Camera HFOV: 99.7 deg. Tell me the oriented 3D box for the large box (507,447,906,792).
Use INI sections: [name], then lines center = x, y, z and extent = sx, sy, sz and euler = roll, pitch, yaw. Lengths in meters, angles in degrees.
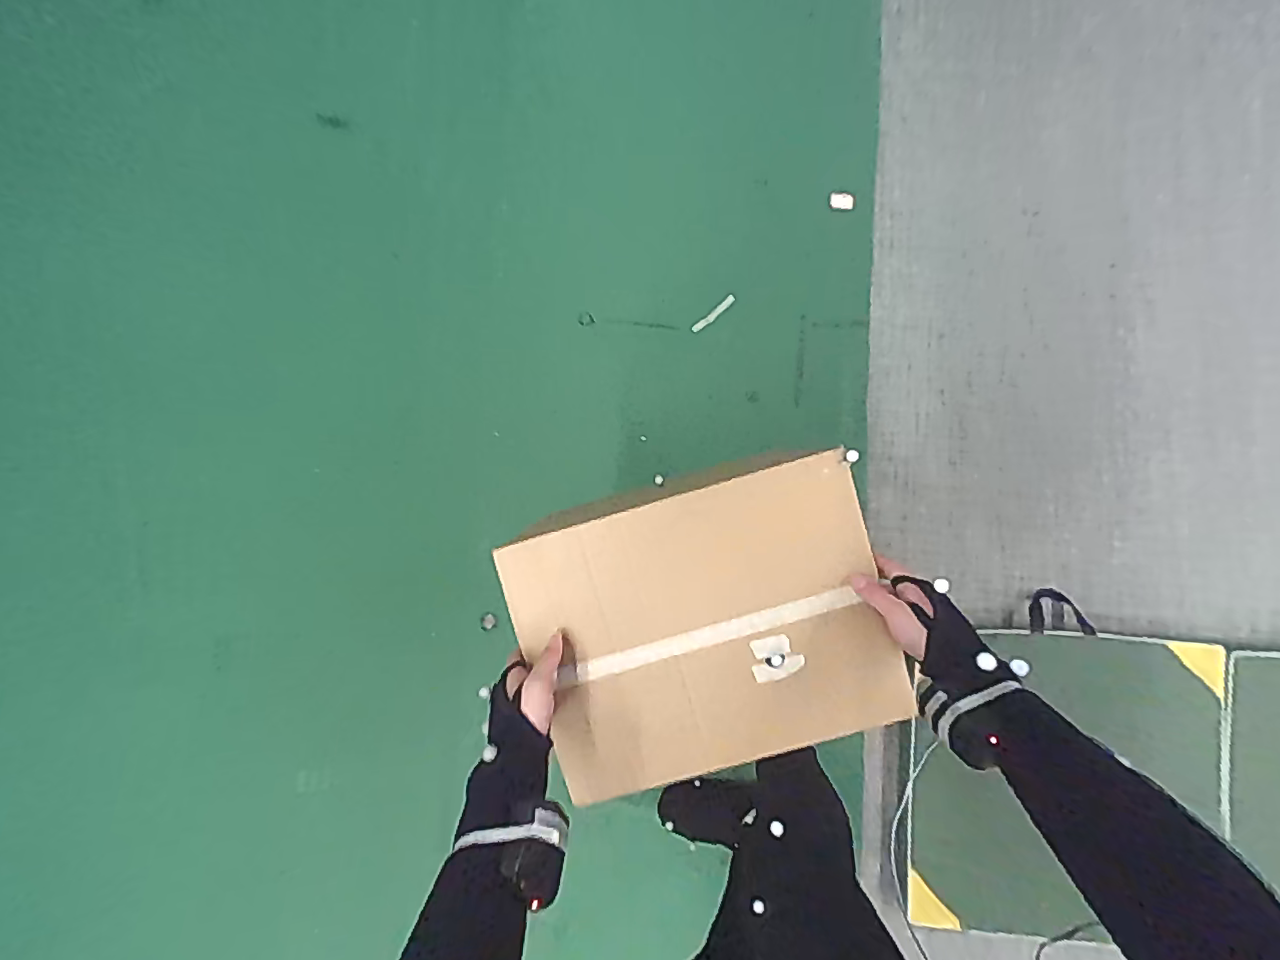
[large box]
center = 0.078, 0.159, 0.772
extent = 0.408, 0.320, 0.320
euler = -17, 94, 1
